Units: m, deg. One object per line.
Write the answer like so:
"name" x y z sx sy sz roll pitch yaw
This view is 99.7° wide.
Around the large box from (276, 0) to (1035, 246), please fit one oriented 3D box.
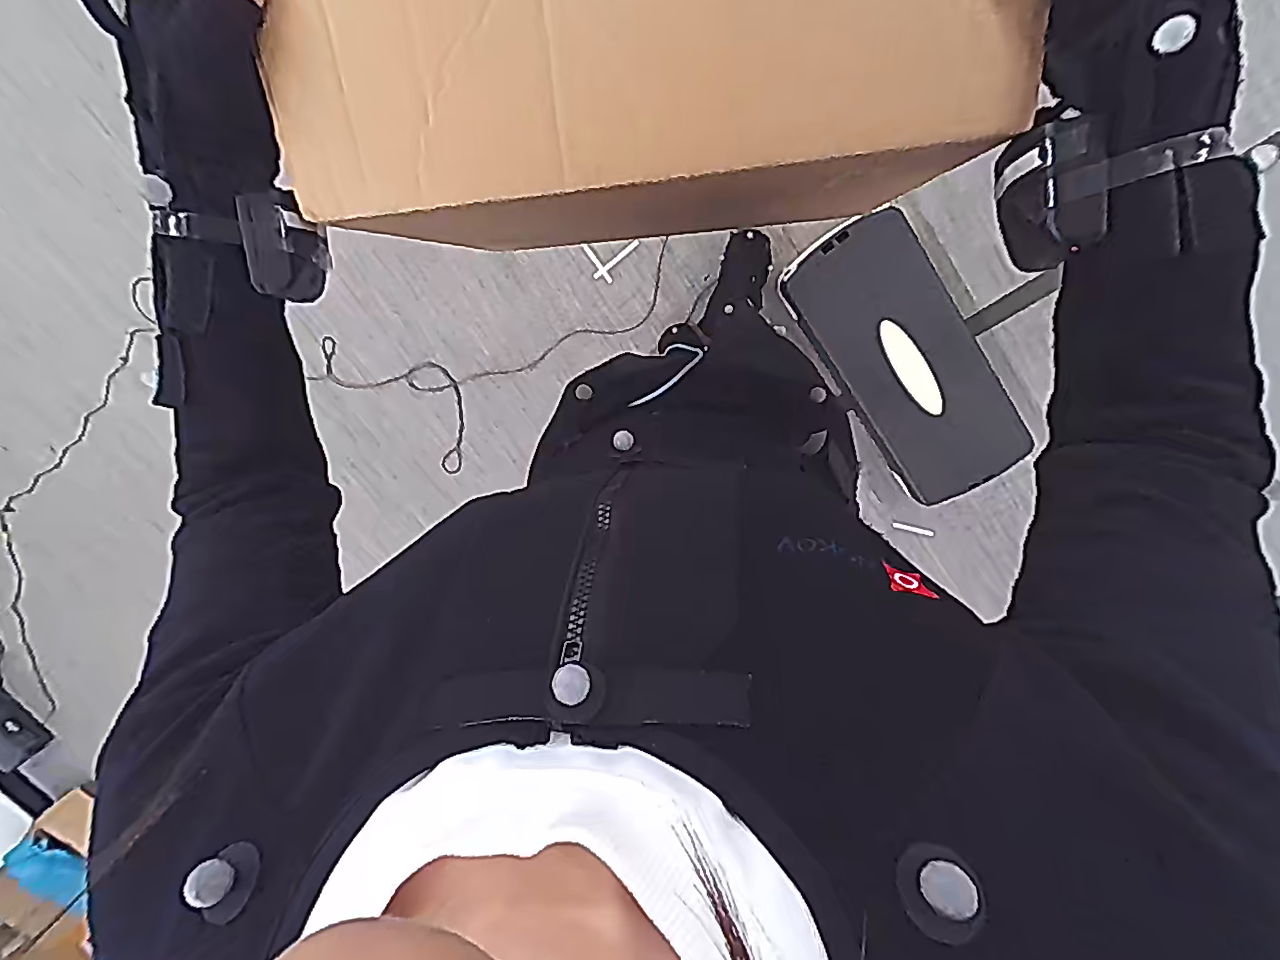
"large box" 0.004 -0.373 0.400 0.408 0.320 0.320 -3 110 8
